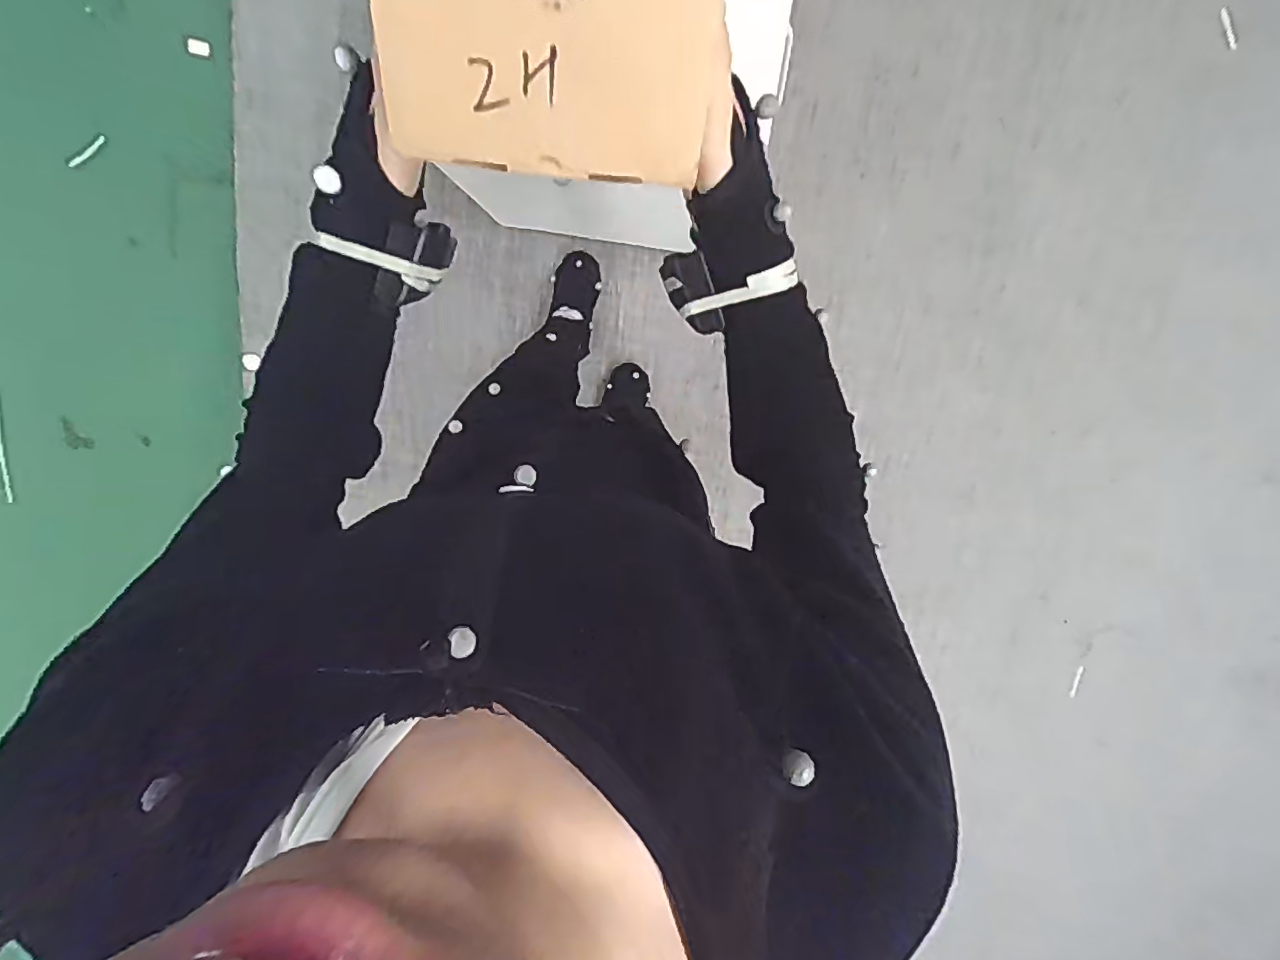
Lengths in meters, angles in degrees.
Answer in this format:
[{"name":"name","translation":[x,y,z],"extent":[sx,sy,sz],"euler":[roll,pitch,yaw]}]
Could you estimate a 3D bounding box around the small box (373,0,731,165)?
[{"name":"small box","translation":[-0.041,-0.289,0.301],"extent":[0.168,0.176,0.179],"euler":[4,123,-5]}]
